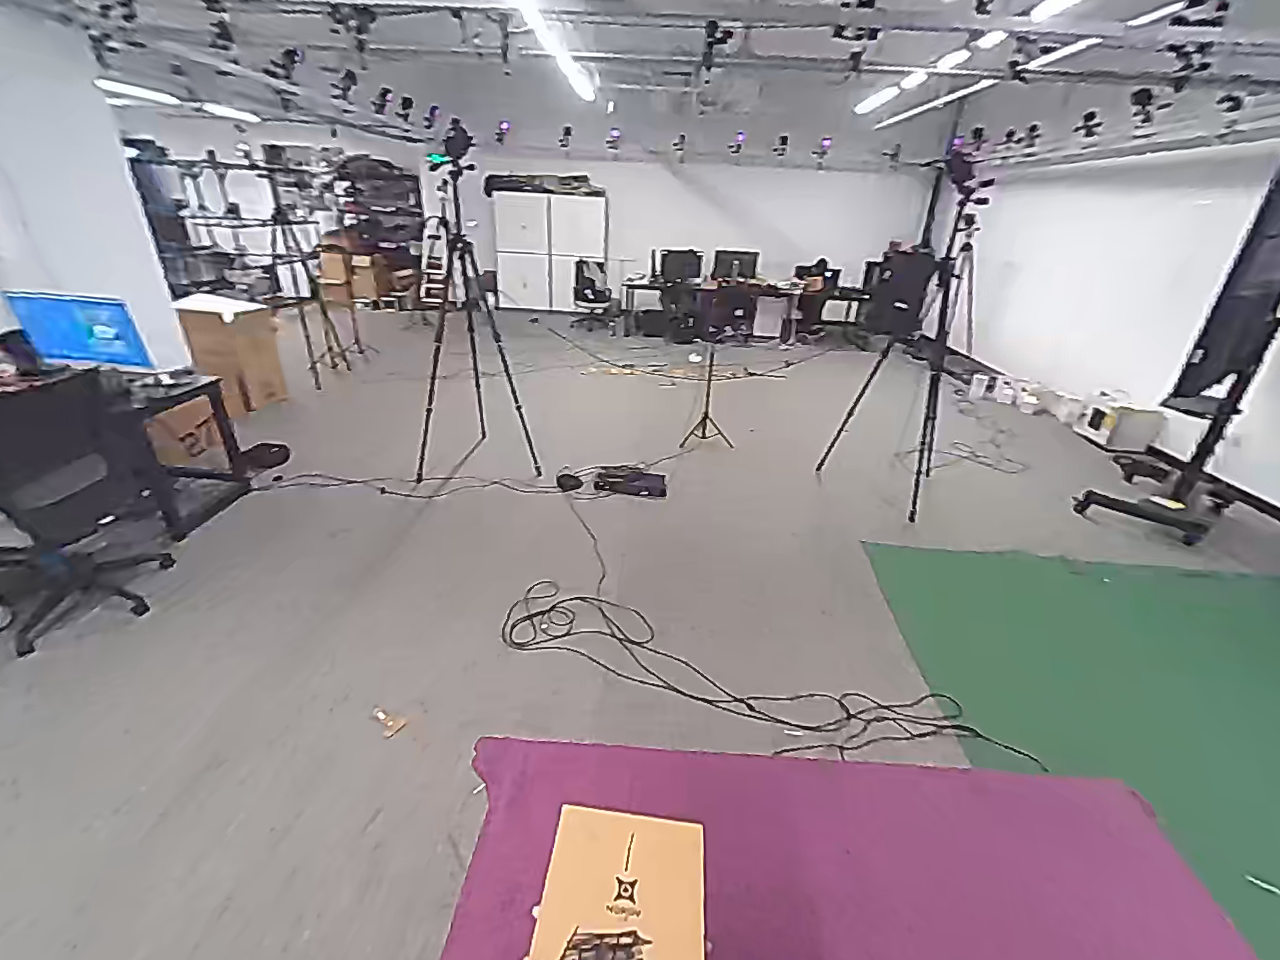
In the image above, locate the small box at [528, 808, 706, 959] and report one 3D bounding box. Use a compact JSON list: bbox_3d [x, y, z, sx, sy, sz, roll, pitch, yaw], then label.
[{"bbox_3d":[-0.022,0.496,0.576,0.168,0.176,0.179,7,26,3],"label":"small box"}]
